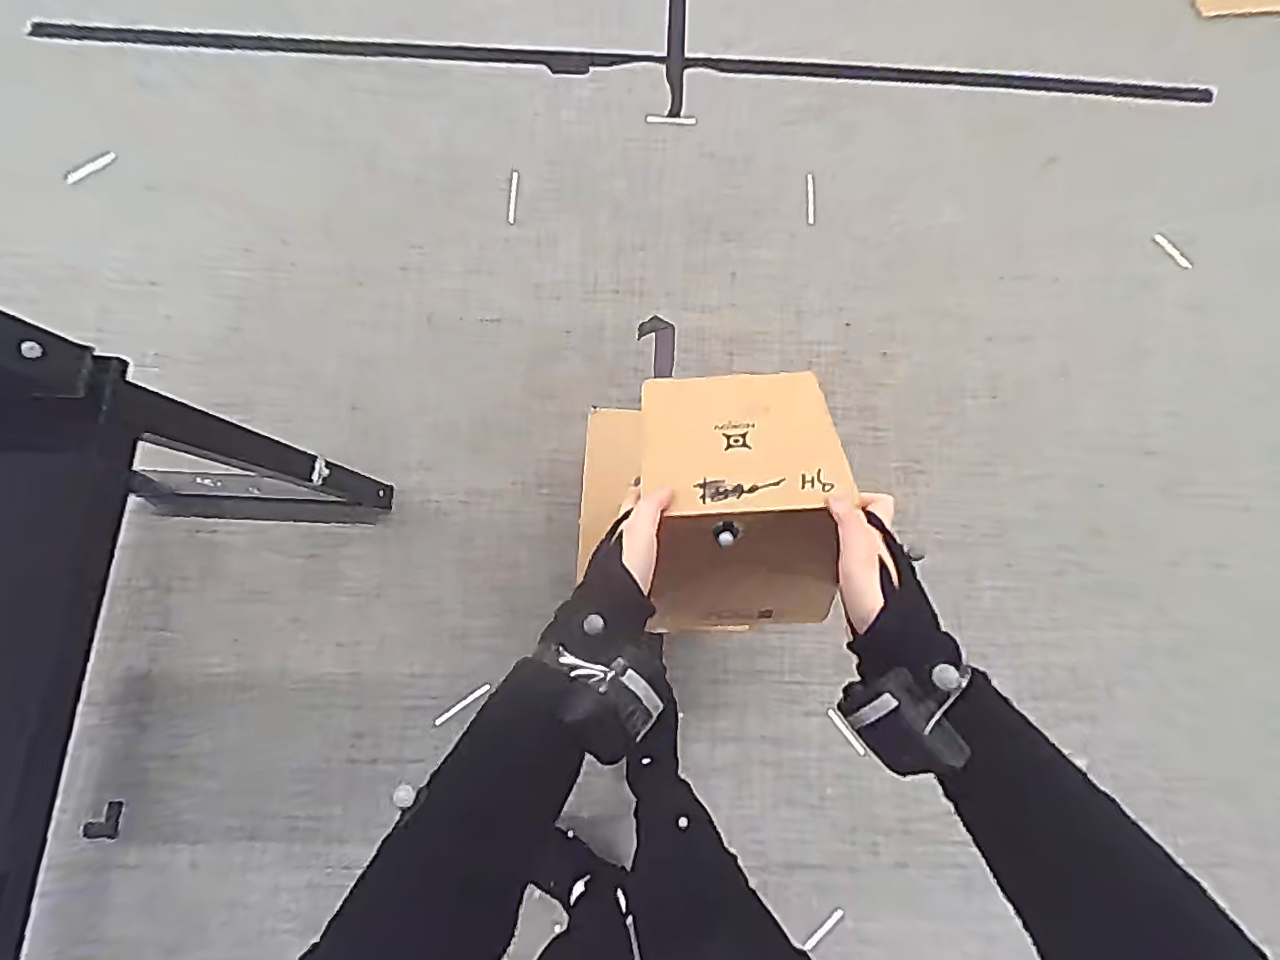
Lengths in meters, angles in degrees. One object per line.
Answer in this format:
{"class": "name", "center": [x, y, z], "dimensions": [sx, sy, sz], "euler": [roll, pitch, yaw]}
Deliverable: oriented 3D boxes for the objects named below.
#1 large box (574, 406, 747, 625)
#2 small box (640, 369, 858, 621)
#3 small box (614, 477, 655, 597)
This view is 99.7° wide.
{"class": "large box", "center": [0.037, 0.089, 1.136], "dimensions": [0.320, 0.320, 0.408], "euler": [3, 78, -3]}
{"class": "small box", "center": [0.090, 0.015, 0.520], "dimensions": [0.168, 0.176, 0.179], "euler": [-4, 44, 4]}
{"class": "small box", "center": [0.048, 0.104, 0.884], "dimensions": [0.168, 0.176, 0.179], "euler": [7, 79, 0]}
